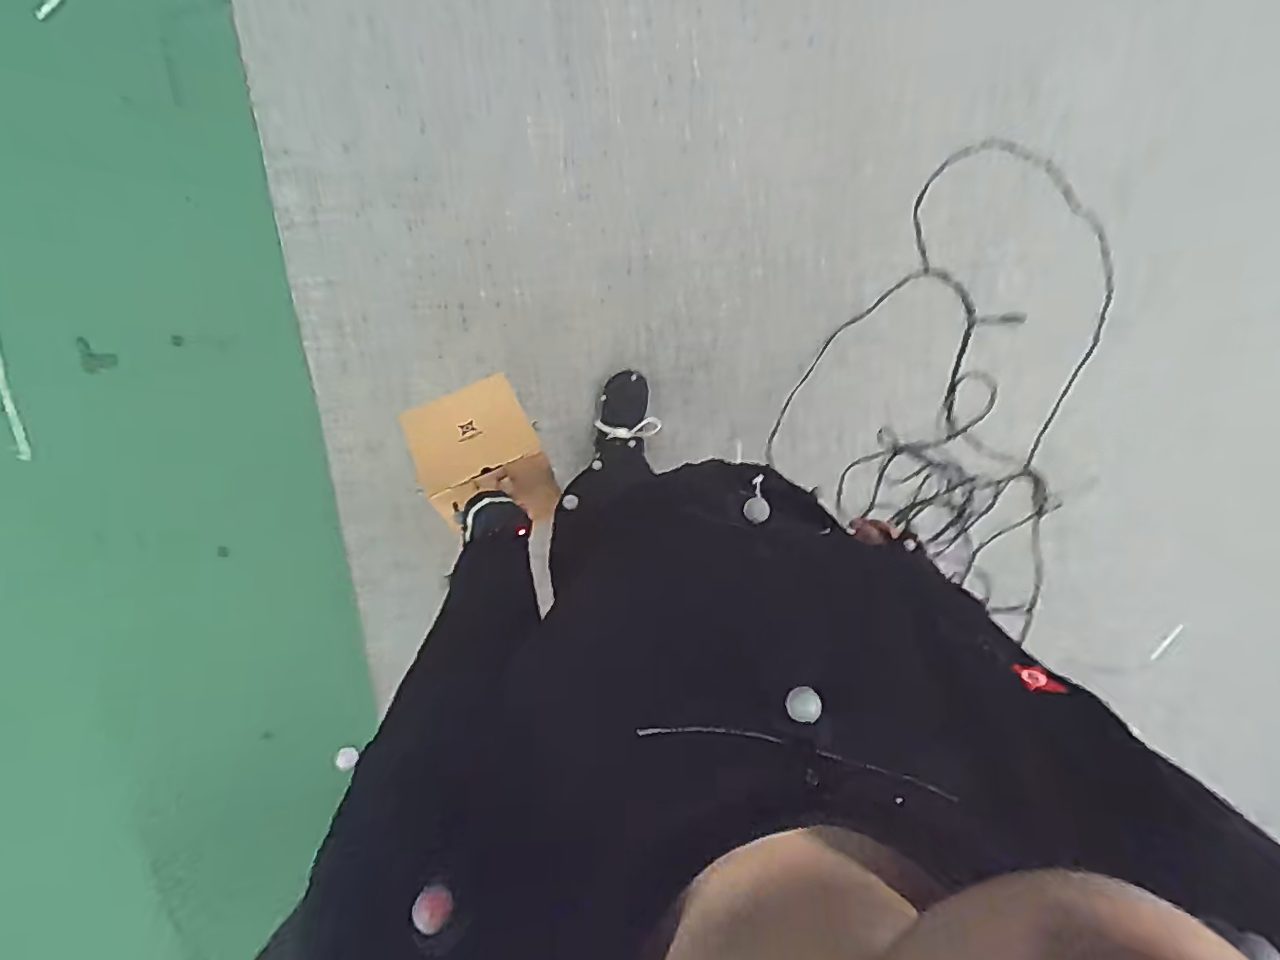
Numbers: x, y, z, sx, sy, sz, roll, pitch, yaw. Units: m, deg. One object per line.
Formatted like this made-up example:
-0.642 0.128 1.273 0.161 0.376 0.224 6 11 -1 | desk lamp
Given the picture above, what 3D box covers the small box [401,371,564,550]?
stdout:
-0.232 -0.026 0.817 0.168 0.176 0.179 -25 56 -12 | small box
